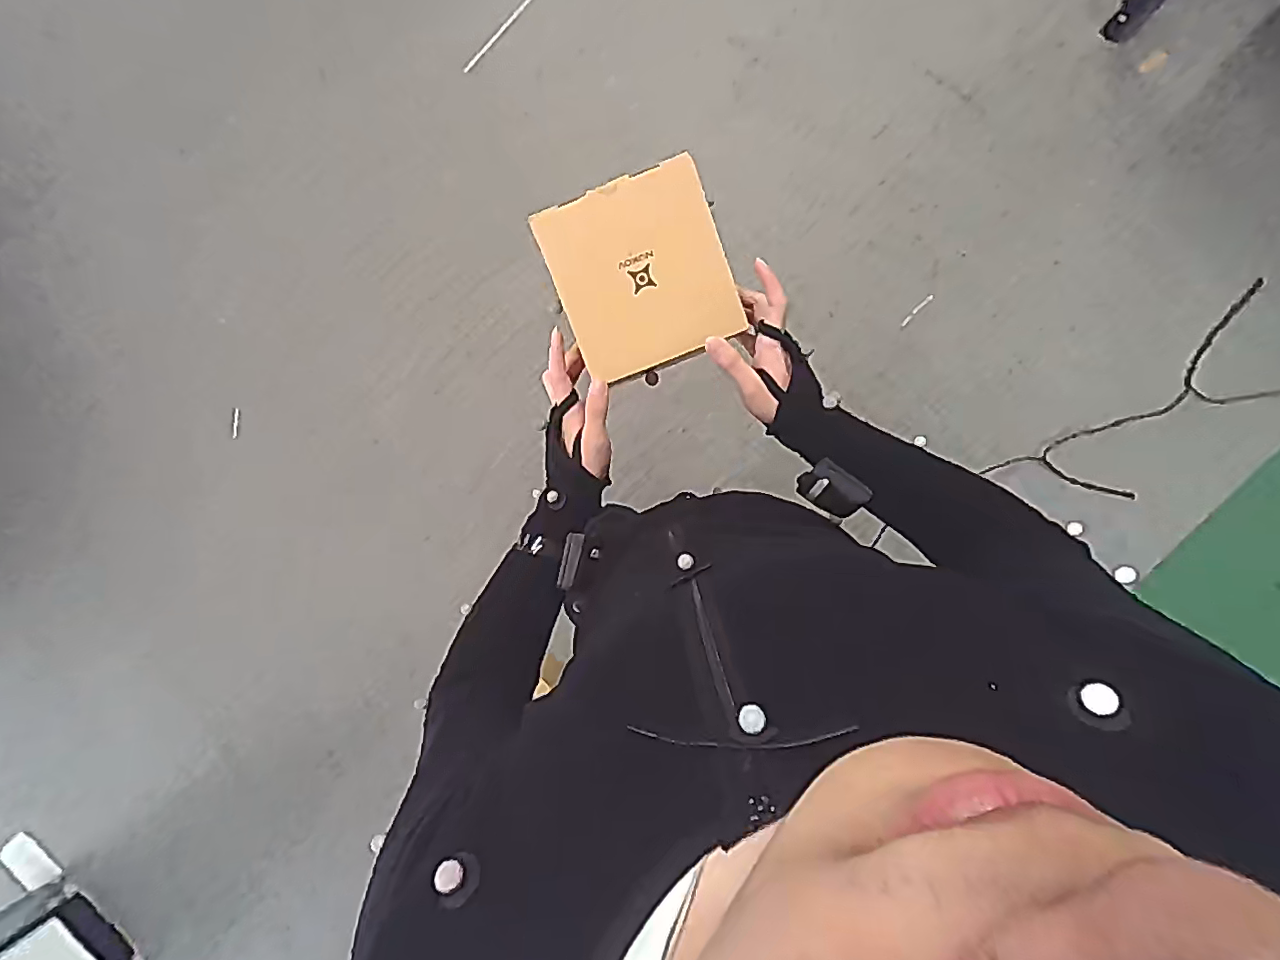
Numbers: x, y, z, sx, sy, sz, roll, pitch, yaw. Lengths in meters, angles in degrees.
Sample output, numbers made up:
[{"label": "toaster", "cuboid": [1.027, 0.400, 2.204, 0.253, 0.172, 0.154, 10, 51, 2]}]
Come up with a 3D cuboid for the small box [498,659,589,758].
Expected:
[{"label": "small box", "cuboid": [-0.270, 0.653, 1.569, 0.168, 0.176, 0.179, -45, 86, 3]}]
